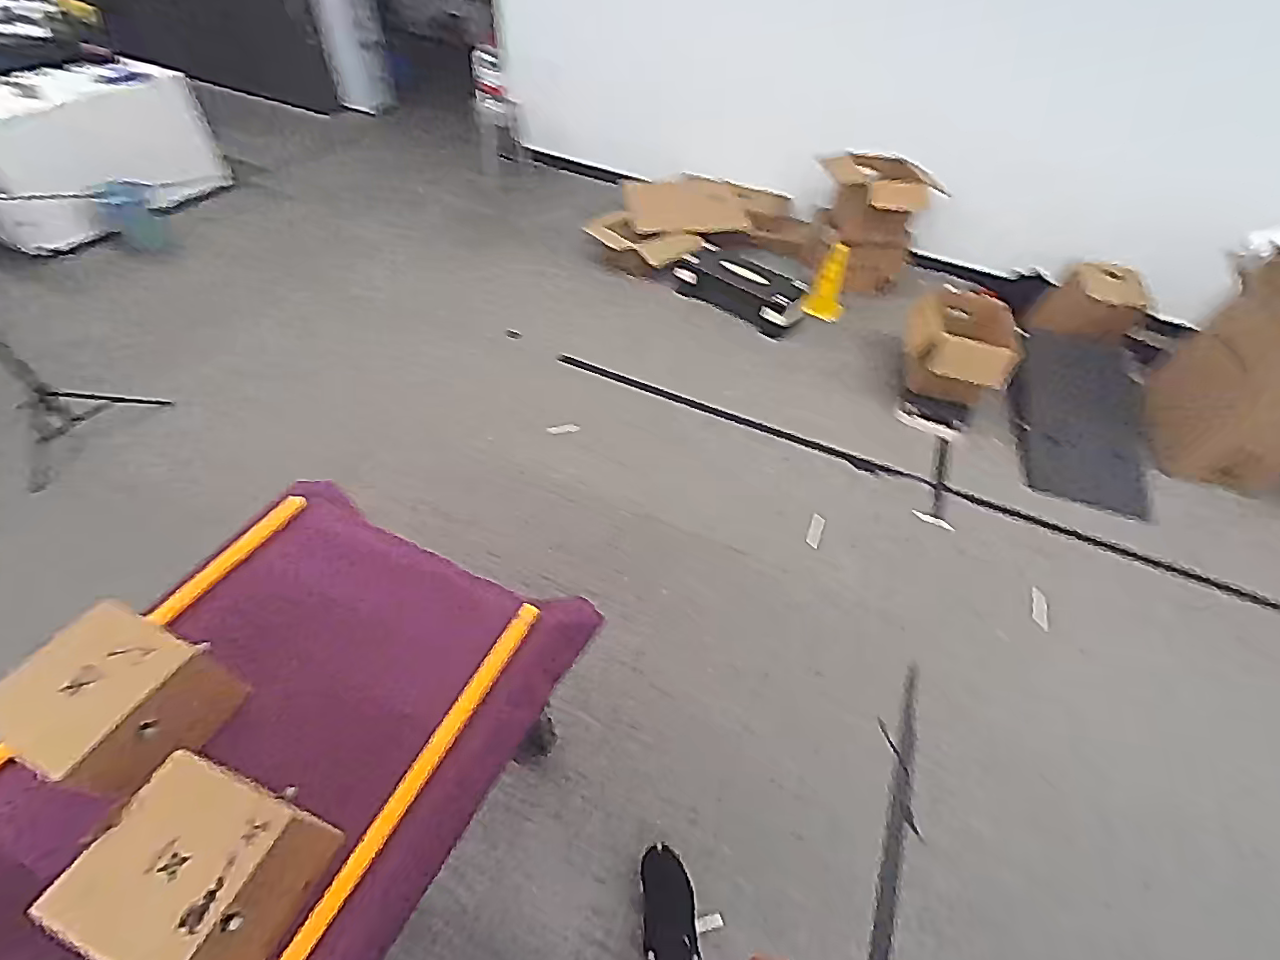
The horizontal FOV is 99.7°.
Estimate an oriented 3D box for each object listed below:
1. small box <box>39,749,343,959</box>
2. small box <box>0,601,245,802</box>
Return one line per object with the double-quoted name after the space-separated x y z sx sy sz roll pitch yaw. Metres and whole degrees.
-0.494 0.451 0.628 0.179 0.176 0.168 19 51 13 "small box"
-0.695 0.303 0.731 0.168 0.176 0.179 23 52 11 "small box"
